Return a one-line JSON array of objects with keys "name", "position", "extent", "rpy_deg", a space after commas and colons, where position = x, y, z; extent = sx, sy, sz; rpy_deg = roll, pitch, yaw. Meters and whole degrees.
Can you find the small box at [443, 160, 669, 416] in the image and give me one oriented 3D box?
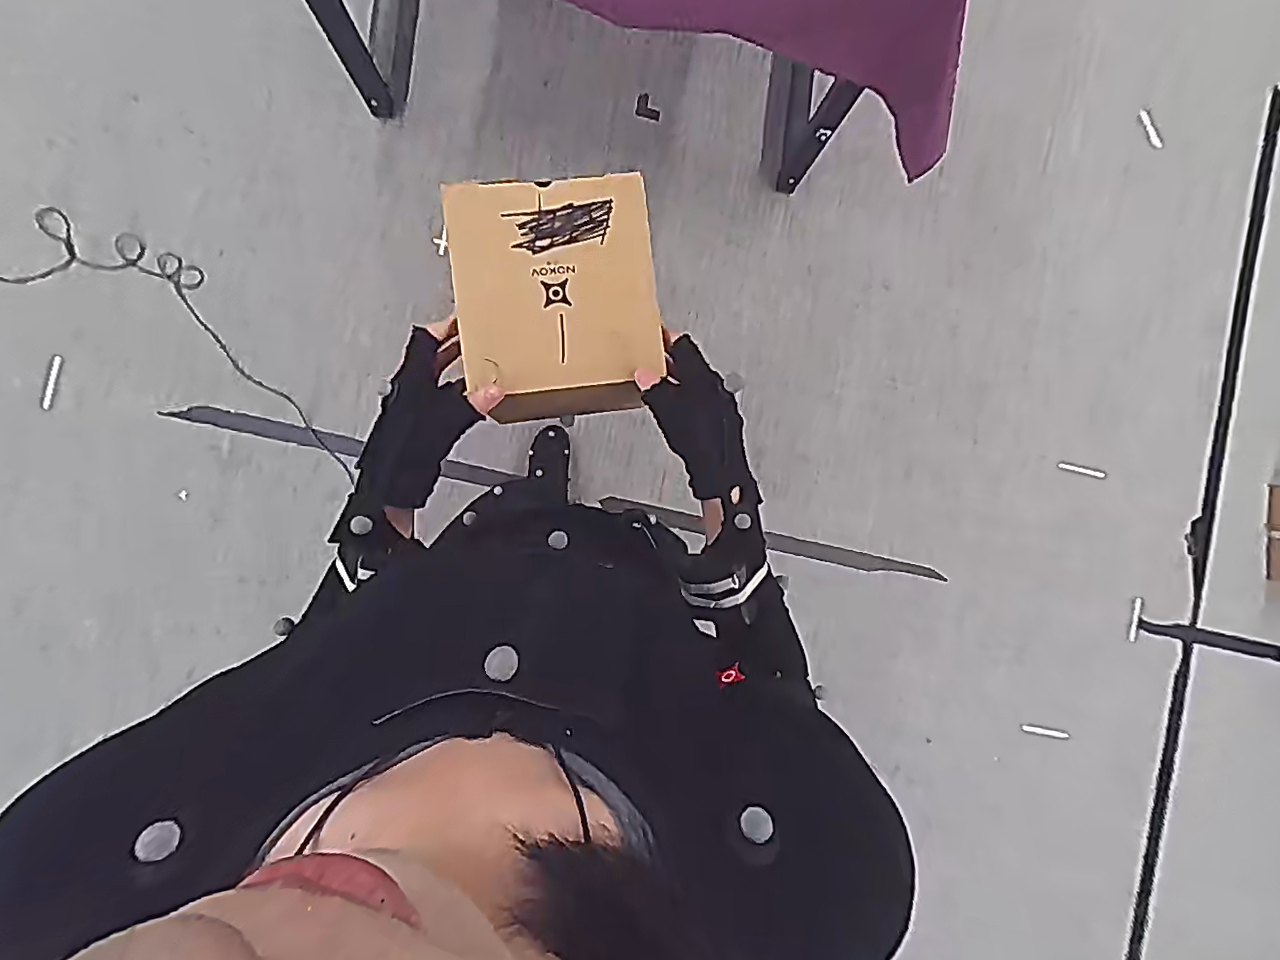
[{"name": "small box", "position": [-0.075, -0.165, 0.510], "extent": [0.168, 0.176, 0.179], "rpy_deg": [-7, 90, -6]}]
